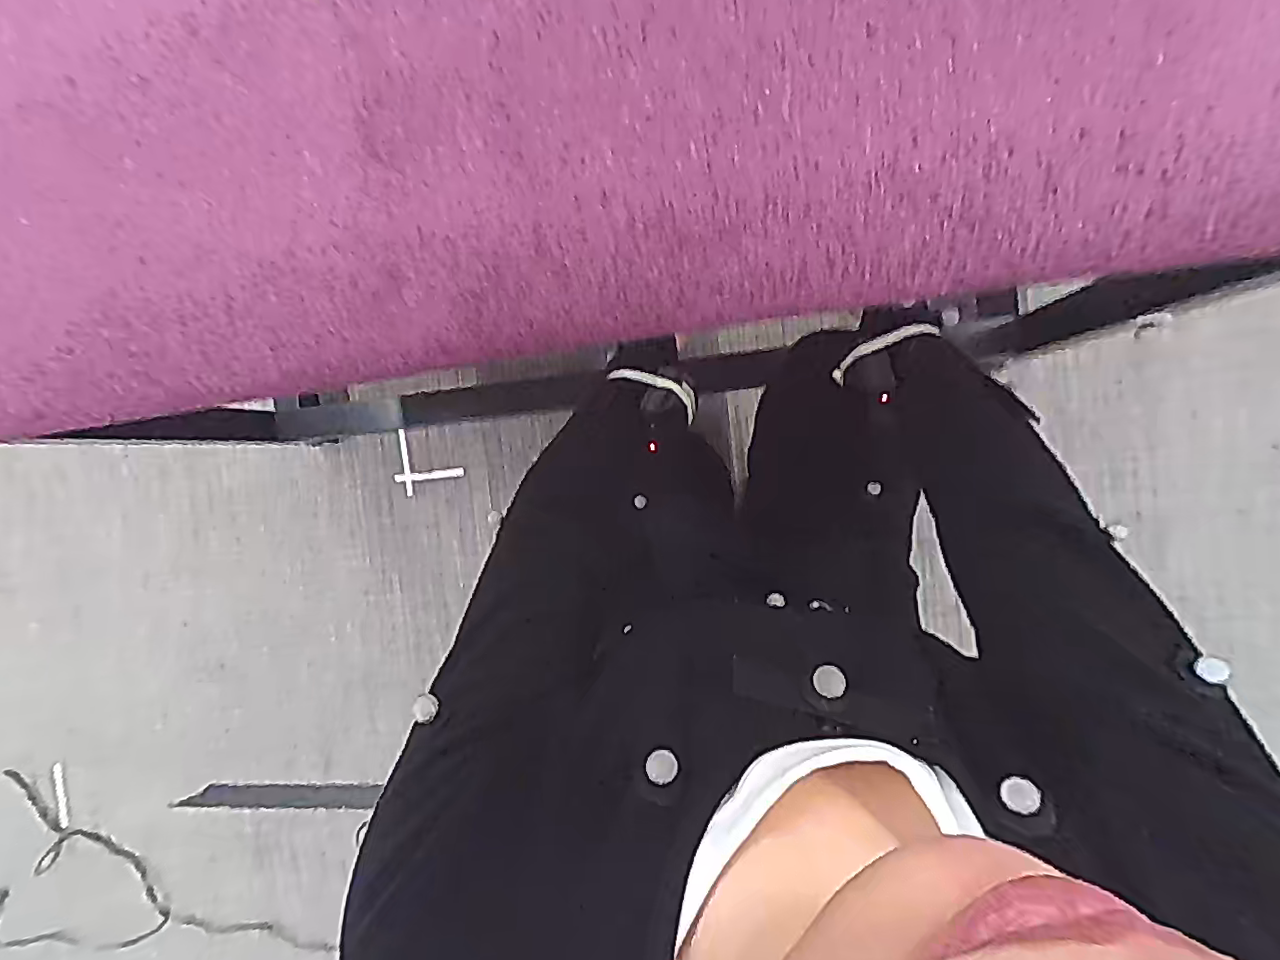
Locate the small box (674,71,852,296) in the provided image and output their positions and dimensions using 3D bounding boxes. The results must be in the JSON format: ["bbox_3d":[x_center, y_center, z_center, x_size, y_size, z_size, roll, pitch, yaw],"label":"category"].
[{"bbox_3d":[0.123,-0.310,0.602,0.168,0.176,0.179,-2,102,4],"label":"small box"}]
